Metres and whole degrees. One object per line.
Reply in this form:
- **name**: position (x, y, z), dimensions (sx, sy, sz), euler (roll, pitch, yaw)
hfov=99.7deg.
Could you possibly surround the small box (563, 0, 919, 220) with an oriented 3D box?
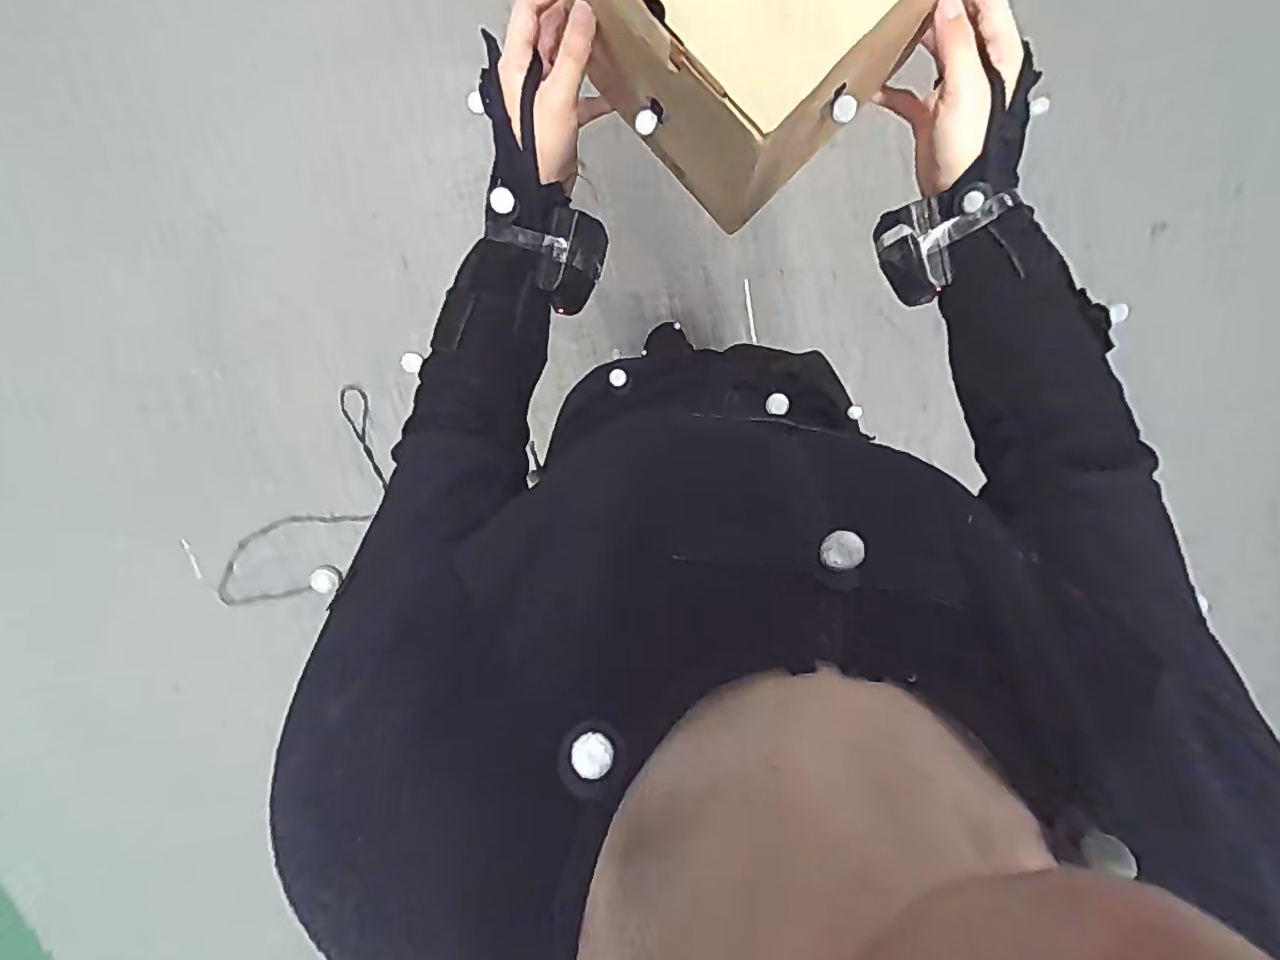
- **small box**: position (0.065, -0.302, 0.338), dimensions (0.168, 0.176, 0.179), euler (45, 100, -3)
